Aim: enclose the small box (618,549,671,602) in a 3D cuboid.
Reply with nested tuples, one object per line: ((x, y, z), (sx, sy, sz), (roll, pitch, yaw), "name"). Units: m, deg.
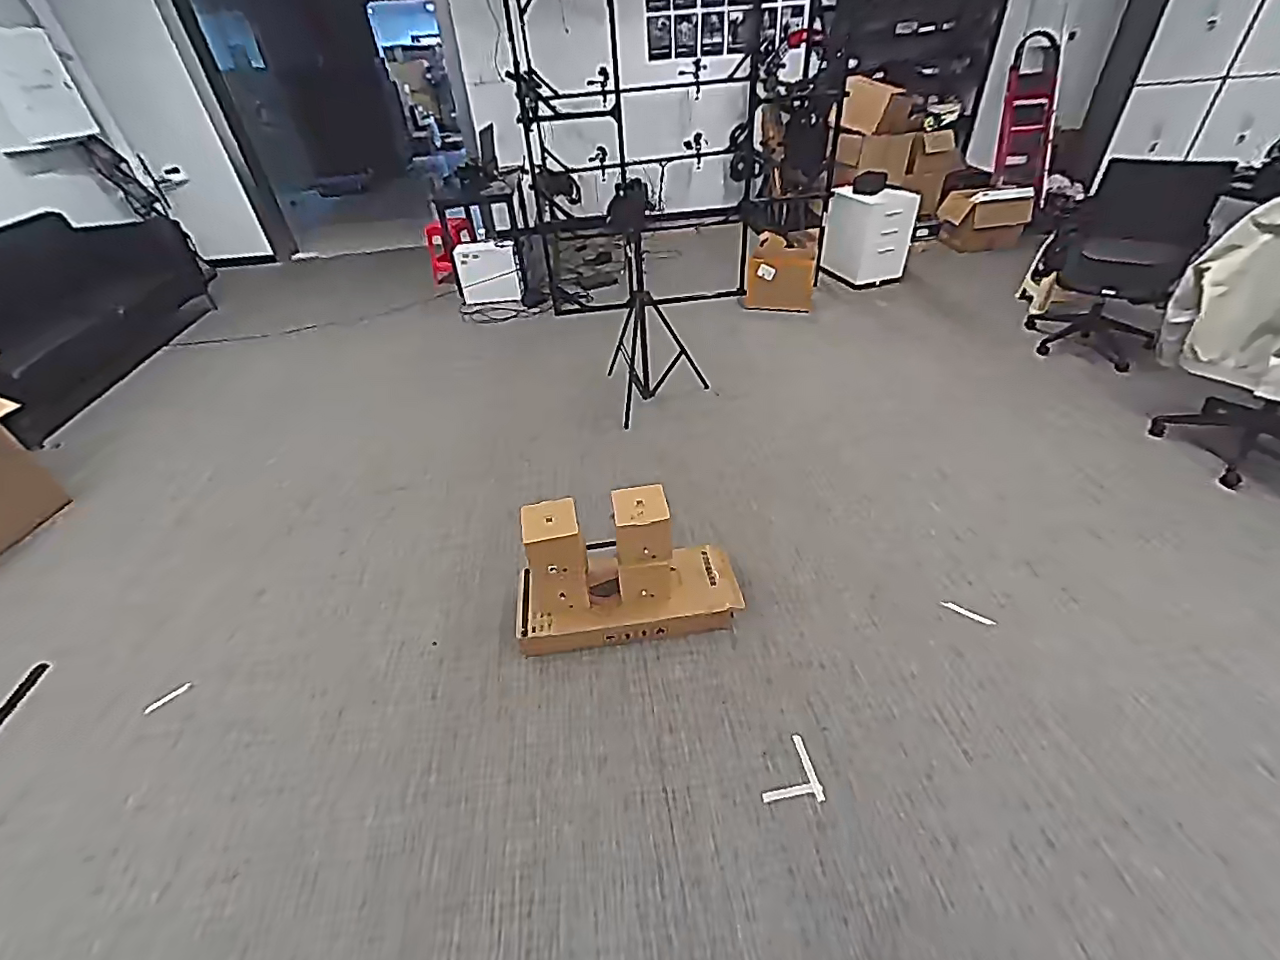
((0.013, 0.283, 1.804), (0.168, 0.176, 0.179), (-6, 39, 0), "small box")

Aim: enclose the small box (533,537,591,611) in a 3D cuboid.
((-0.253, 0.316, 1.788), (0.168, 0.176, 0.179), (-7, 39, -2), "small box")

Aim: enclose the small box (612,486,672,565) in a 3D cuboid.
((0.006, 0.143, 1.714), (0.168, 0.176, 0.179), (-8, 38, -4), "small box")

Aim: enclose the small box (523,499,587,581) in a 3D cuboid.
((-0.267, 0.187, 1.687), (0.168, 0.176, 0.179), (-12, 39, -7), "small box")
